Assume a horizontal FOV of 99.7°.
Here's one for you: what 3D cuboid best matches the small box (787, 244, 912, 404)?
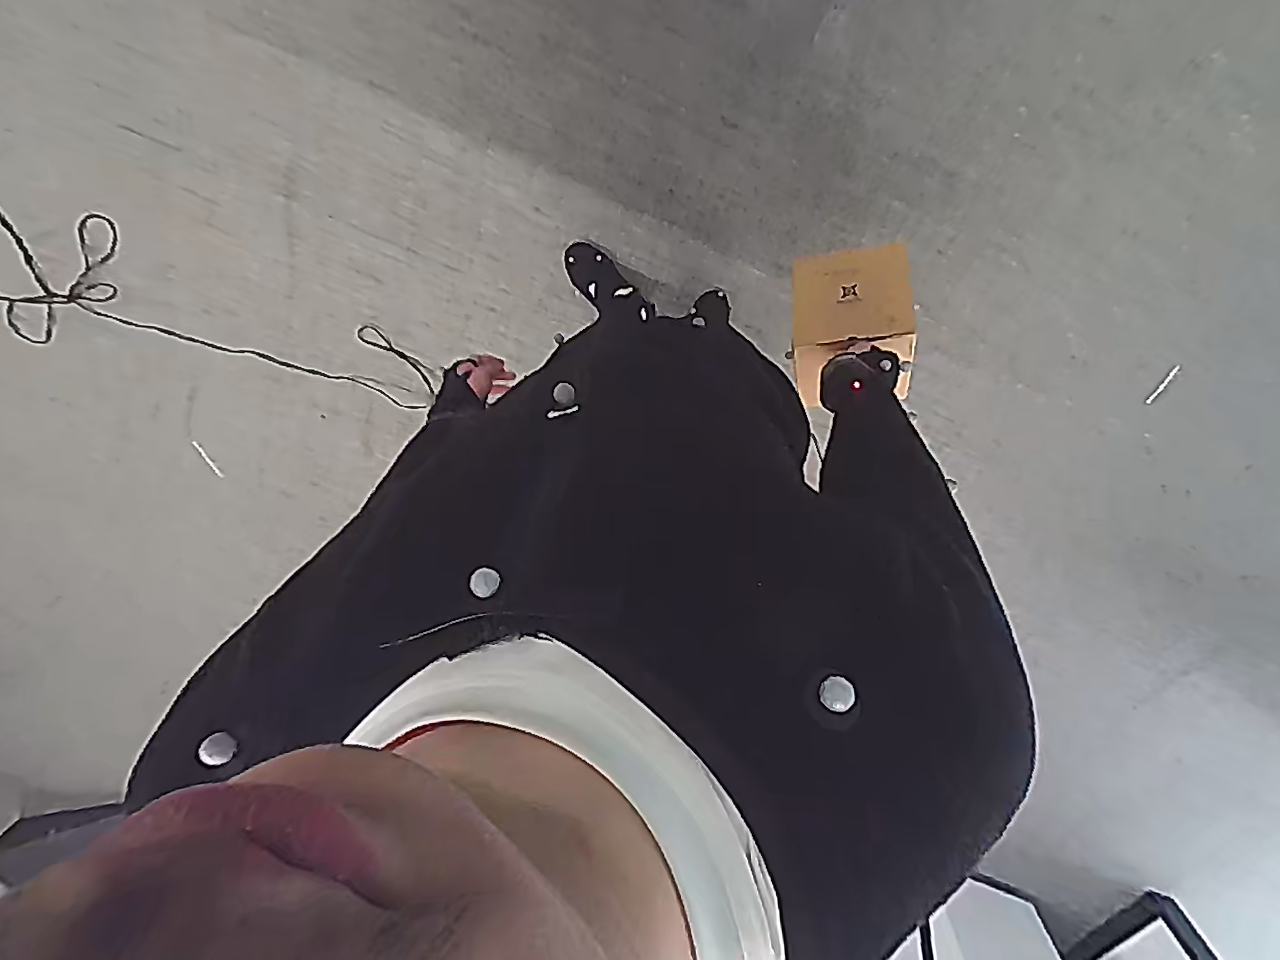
[{"bbox_3d":[0.323,-0.232,0.852,0.168,0.179,0.176,-2,153,18],"label":"small box"}]
